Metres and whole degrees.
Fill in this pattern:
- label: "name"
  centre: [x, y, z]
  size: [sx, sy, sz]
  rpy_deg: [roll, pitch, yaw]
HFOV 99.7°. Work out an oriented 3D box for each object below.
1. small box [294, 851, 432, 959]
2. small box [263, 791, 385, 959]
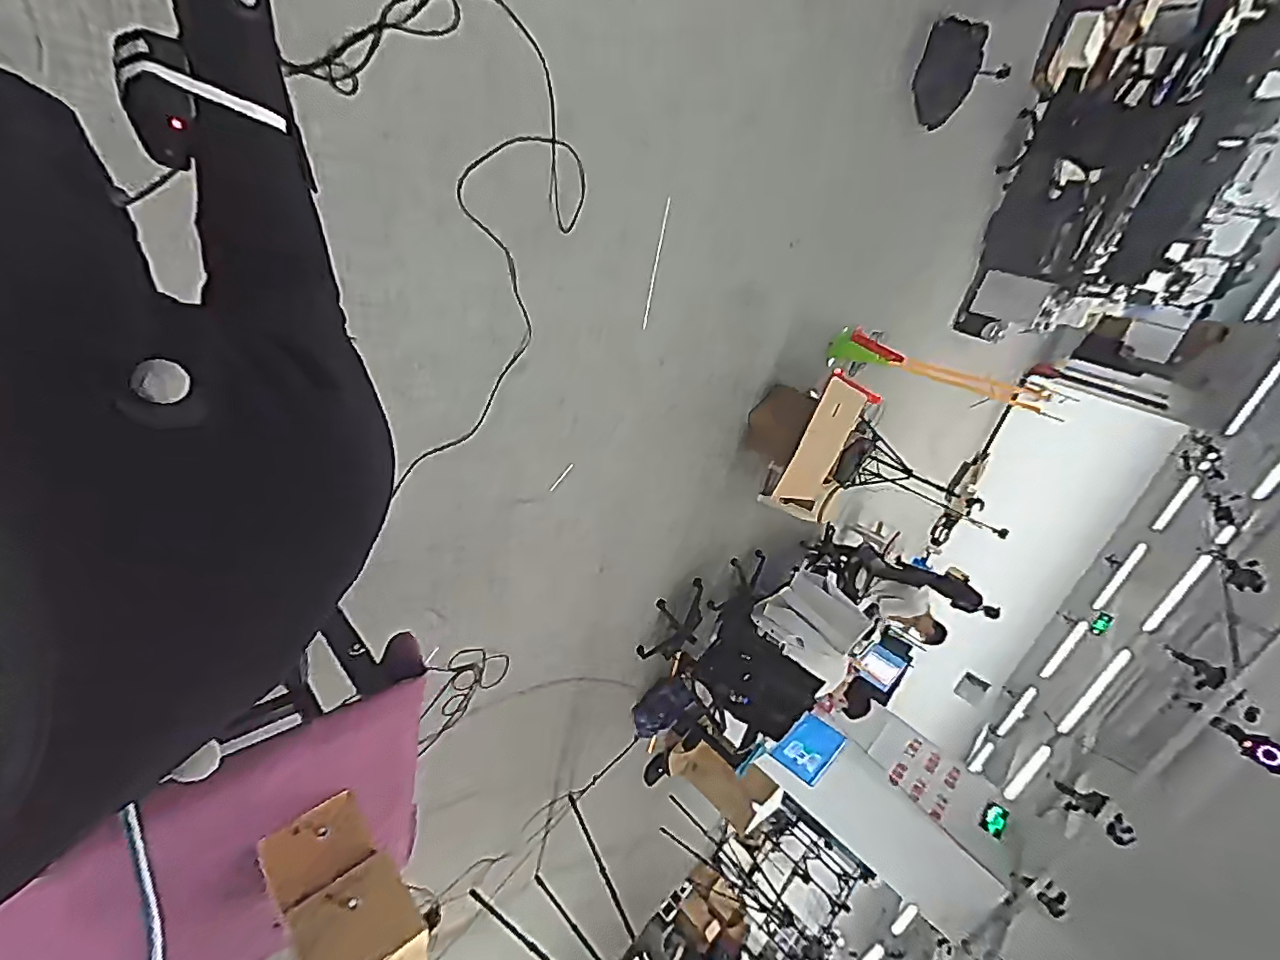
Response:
- label: "small box"
  centre: [-0.486, 0.812, 0.953]
  size: [0.168, 0.176, 0.179]
  rpy_deg: [-18, 129, -44]
- label: "small box"
  centre: [-0.607, 0.759, 1.054]
  size: [0.168, 0.176, 0.179]
  rpy_deg: [-19, 130, -43]
